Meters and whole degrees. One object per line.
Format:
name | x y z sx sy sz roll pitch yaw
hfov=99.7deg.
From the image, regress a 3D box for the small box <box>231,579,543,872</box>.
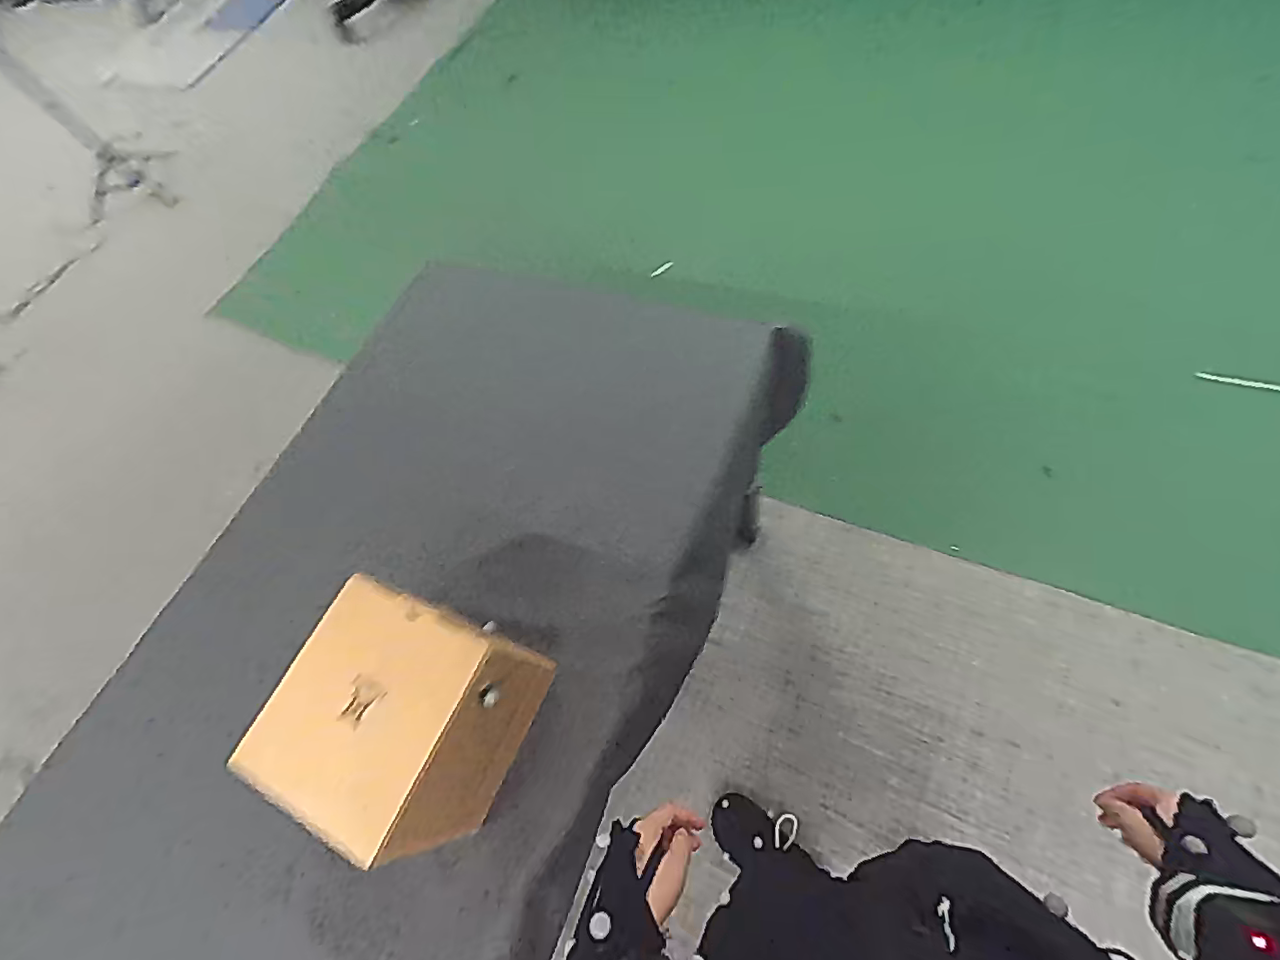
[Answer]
small box | -0.217 0.224 0.516 0.168 0.176 0.179 18 69 20
